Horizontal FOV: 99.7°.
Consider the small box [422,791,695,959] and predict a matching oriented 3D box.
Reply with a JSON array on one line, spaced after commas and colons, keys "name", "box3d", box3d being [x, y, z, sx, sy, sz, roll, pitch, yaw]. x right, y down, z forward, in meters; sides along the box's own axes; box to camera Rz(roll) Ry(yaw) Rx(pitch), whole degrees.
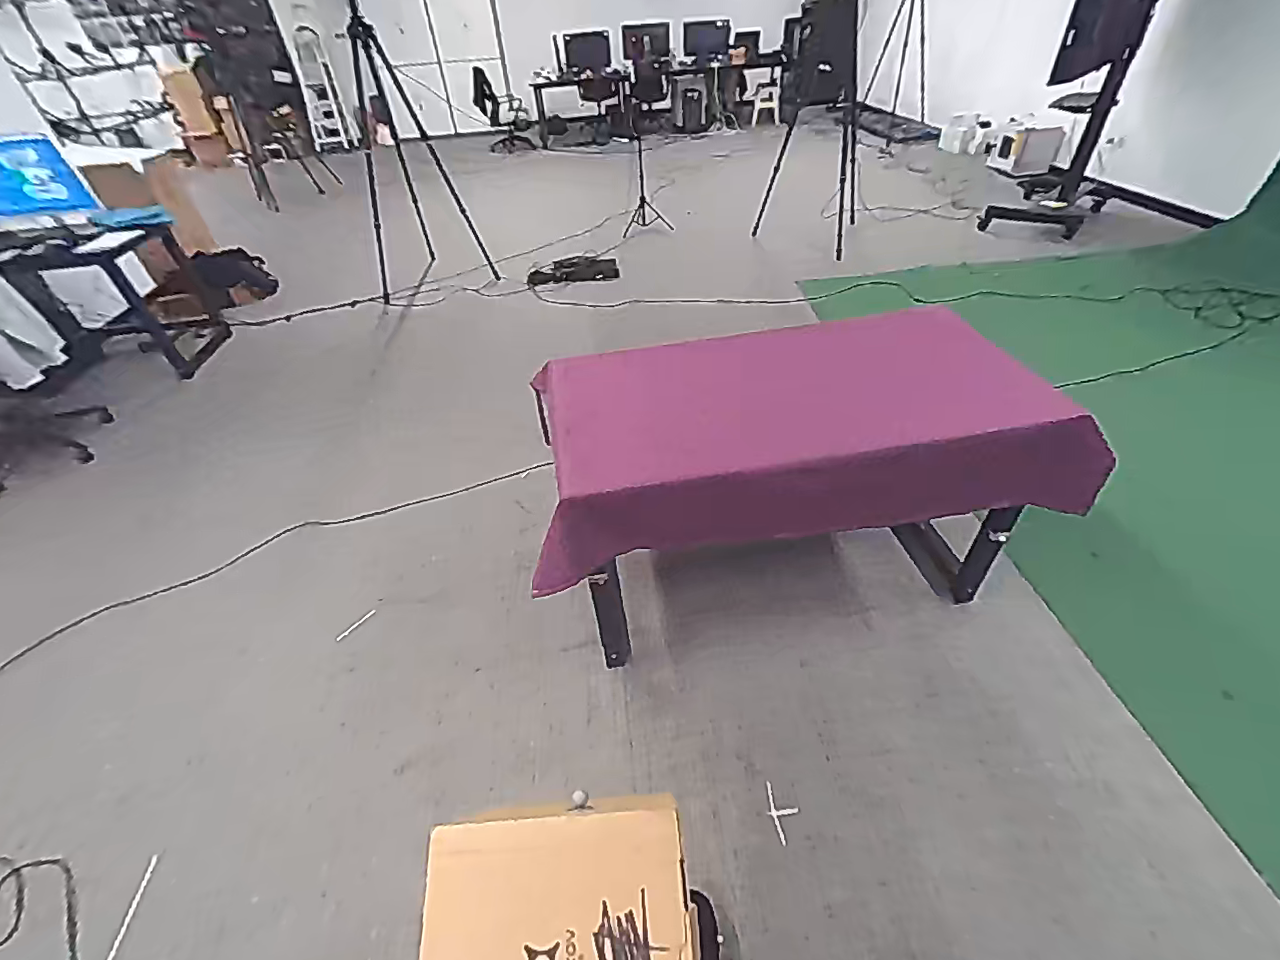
[{"name": "small box", "box3d": [-0.051, 0.341, 0.413, 0.179, 0.176, 0.168, -4, 62, 0]}]
